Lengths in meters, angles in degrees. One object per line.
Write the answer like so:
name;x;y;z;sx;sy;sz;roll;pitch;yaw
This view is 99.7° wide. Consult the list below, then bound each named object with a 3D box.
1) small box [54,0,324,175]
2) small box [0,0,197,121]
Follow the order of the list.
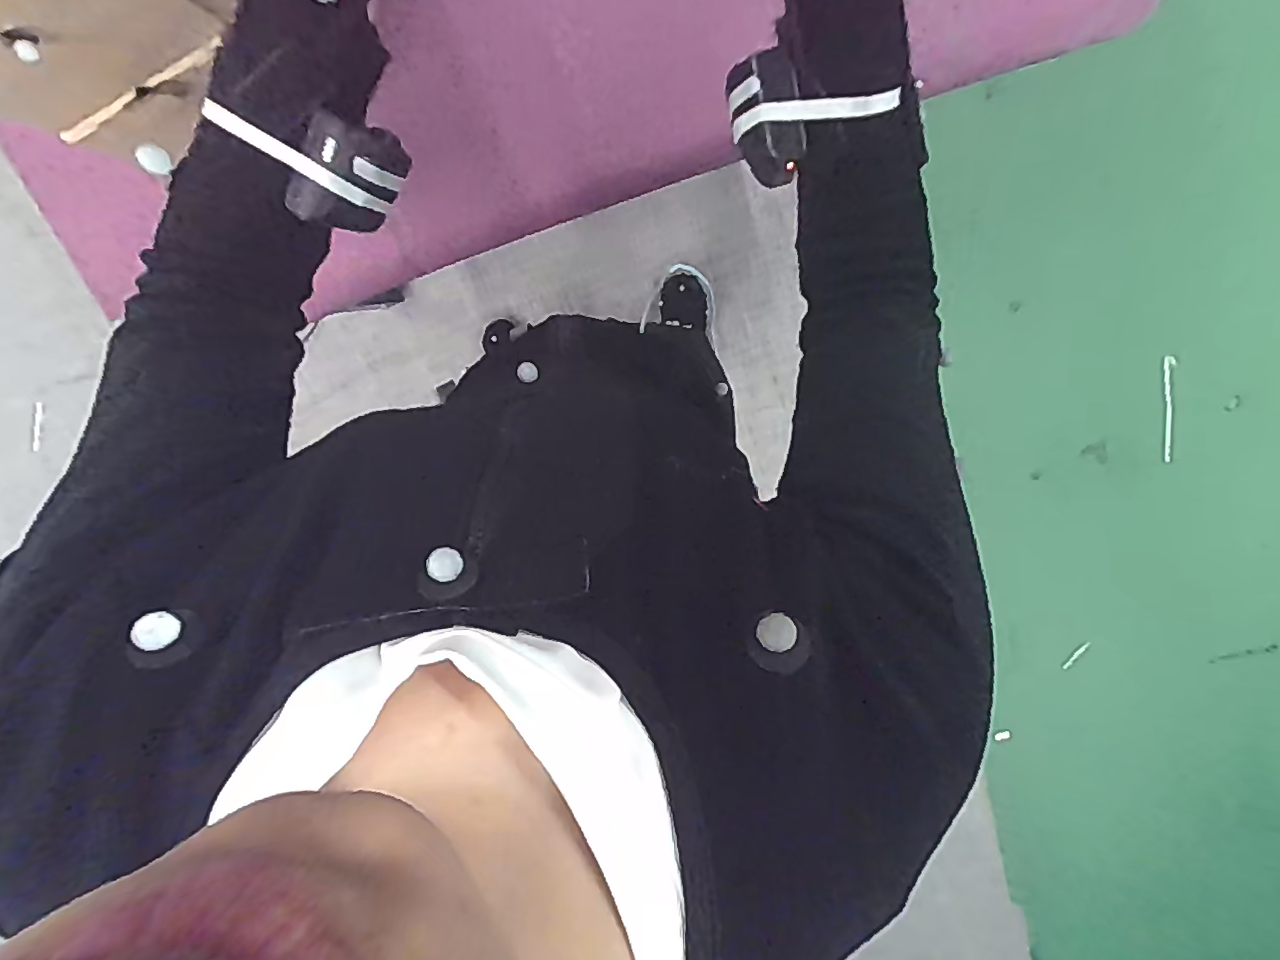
small box;-0.442;-0.415;0.494;0.168;0.176;0.179;-24;109;7
small box;-0.433;-0.365;0.334;0.179;0.176;0.168;-22;107;6
